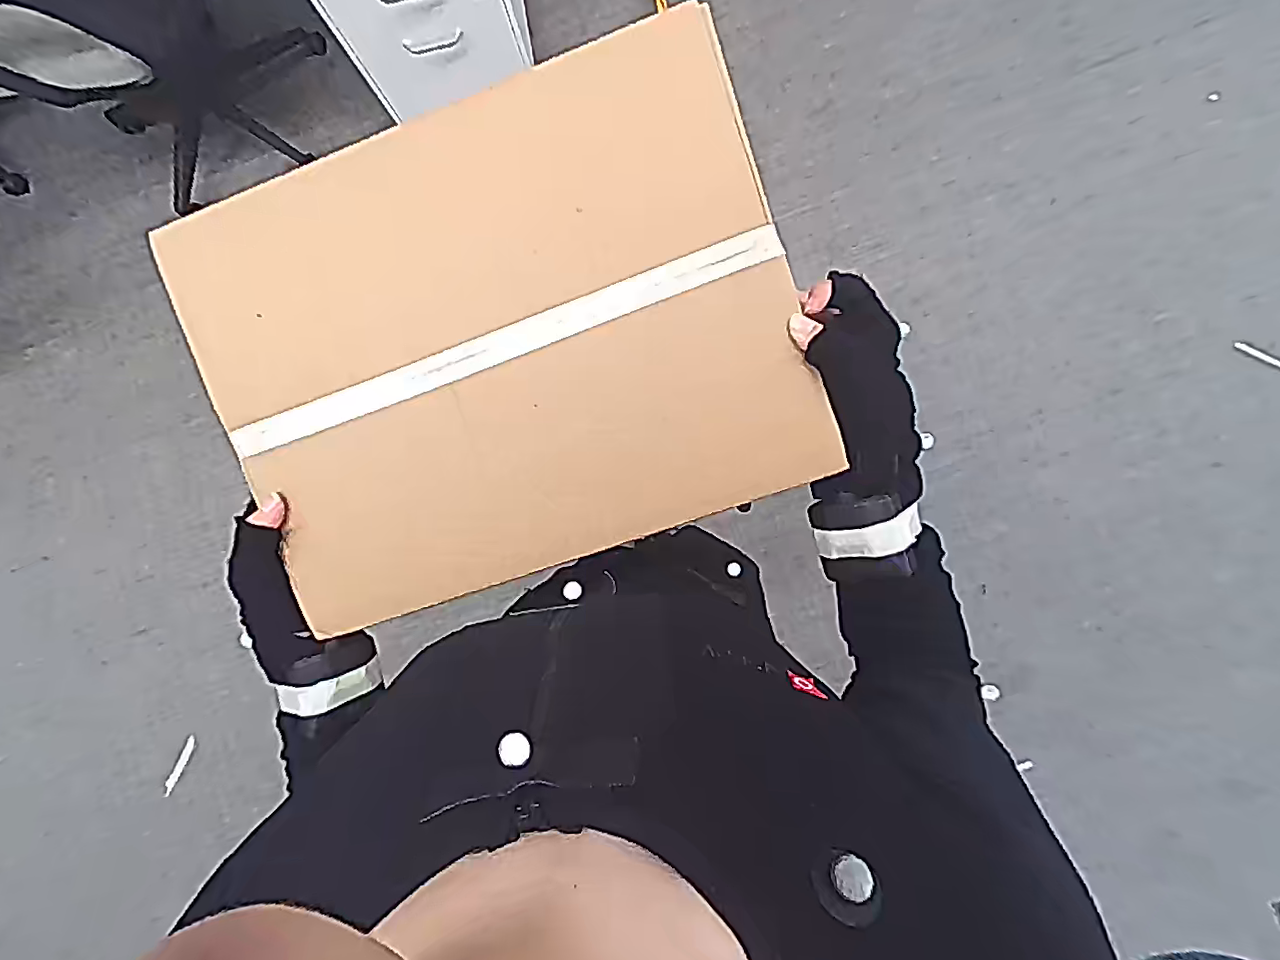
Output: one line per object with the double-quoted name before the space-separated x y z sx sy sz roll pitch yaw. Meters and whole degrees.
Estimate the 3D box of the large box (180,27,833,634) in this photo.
"large box" -0.087 -0.105 0.529 0.408 0.320 0.320 -19 94 7
